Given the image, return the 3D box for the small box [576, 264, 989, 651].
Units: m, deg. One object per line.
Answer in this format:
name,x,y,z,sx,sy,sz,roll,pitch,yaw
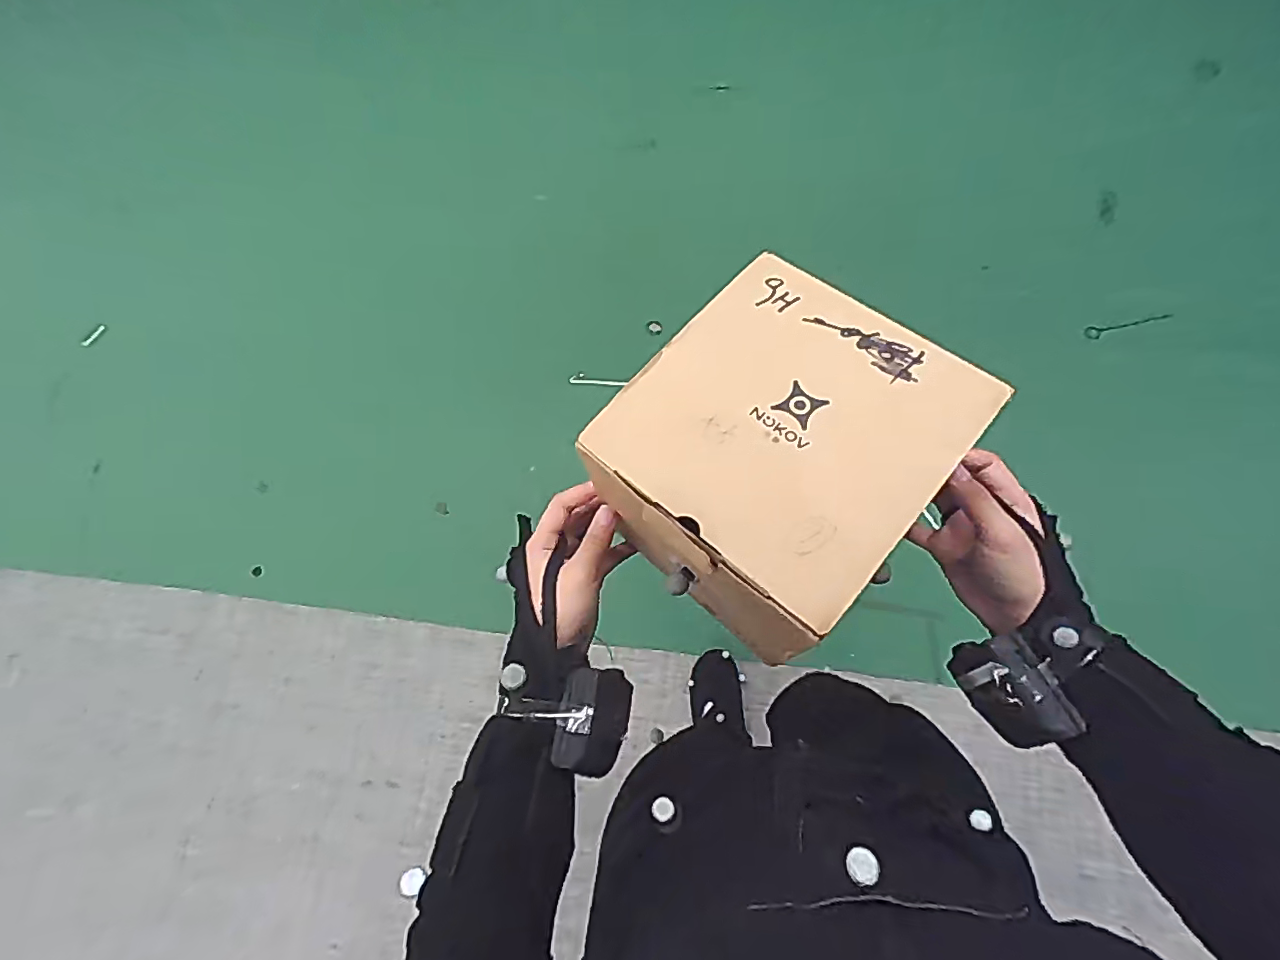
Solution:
small box,0.087,-0.002,0.378,0.168,0.176,0.179,39,77,19
